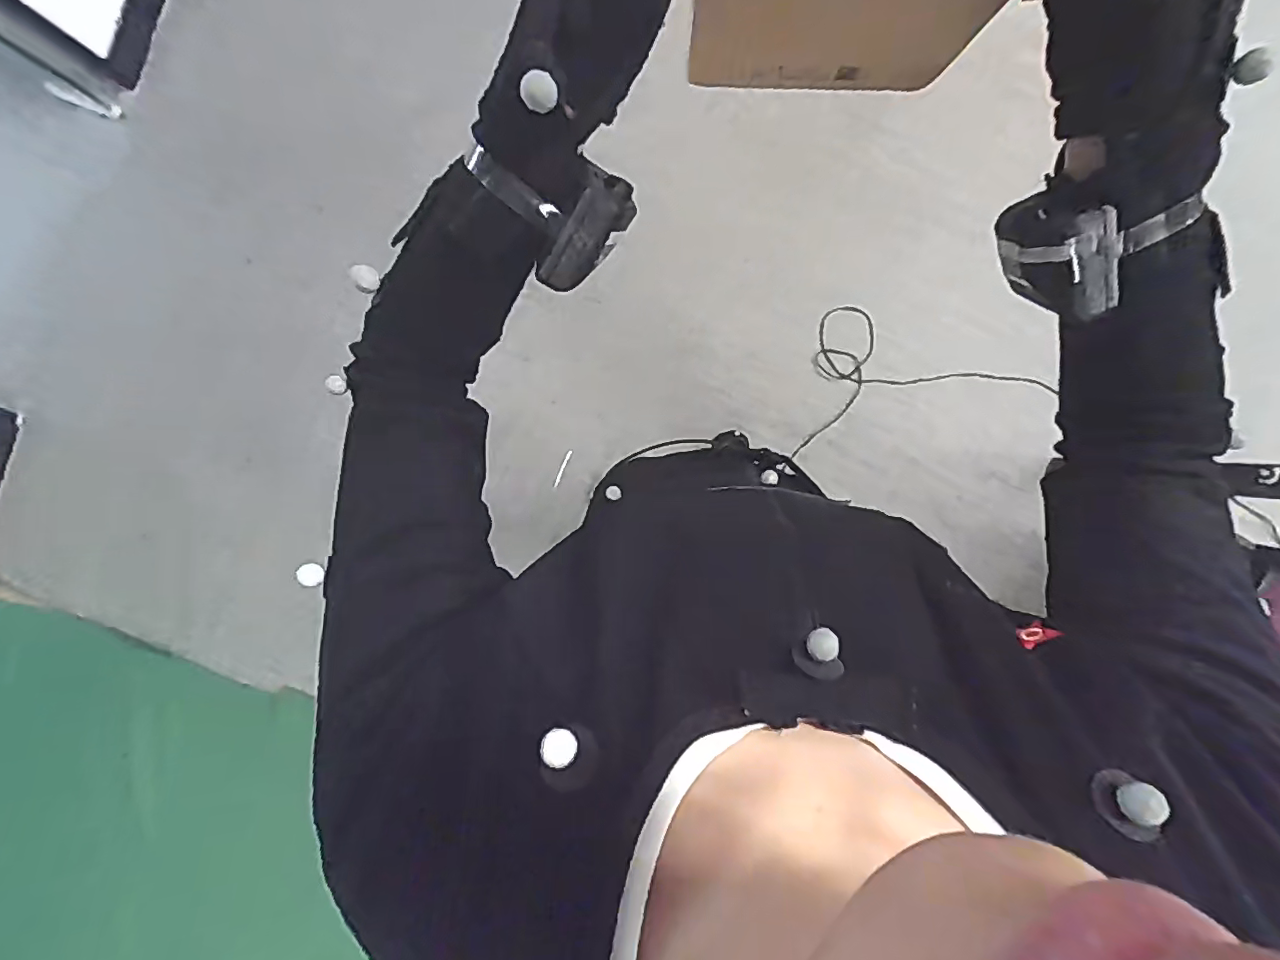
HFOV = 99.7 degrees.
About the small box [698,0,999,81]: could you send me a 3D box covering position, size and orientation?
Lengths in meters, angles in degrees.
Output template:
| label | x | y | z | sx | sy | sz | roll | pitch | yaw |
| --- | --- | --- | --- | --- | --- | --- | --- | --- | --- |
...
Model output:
| label | x | y | z | sx | sy | sz | roll | pitch | yaw |
| --- | --- | --- | --- | --- | --- | --- | --- | --- | --- |
| small box | 0.120 | -0.347 | 0.272 | 0.168 | 0.176 | 0.179 | 3 | 100 | 2 |
